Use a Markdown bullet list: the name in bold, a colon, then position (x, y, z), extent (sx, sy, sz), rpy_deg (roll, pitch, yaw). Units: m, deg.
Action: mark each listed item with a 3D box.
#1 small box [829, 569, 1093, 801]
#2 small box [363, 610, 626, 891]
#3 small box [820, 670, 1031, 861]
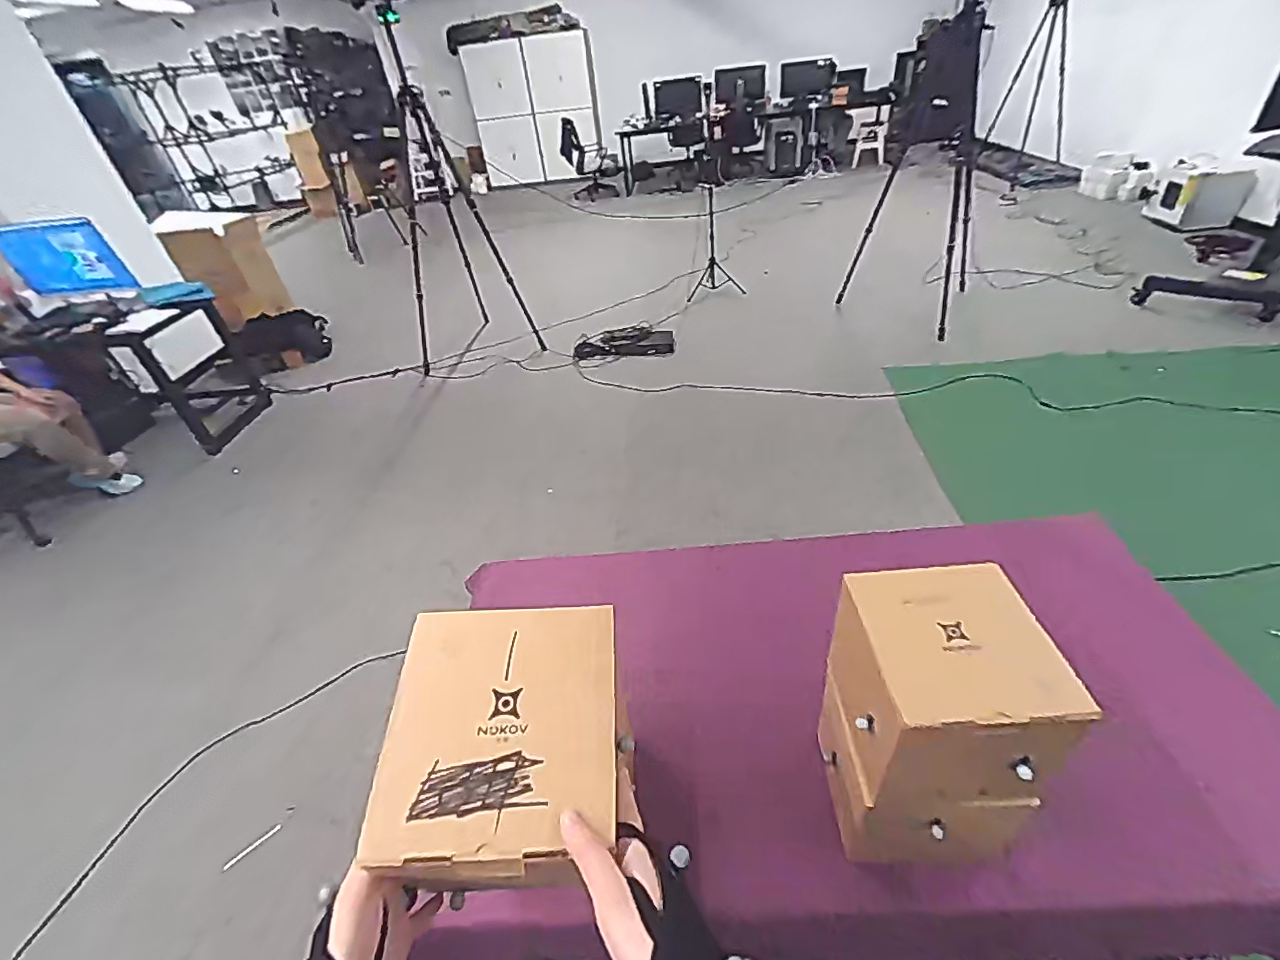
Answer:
- **small box**: position (0.312, 0.220, 0.574), extent (0.168, 0.176, 0.179), rpy_deg (-4, 37, 3)
- **small box**: position (-0.095, 0.228, 0.452), extent (0.168, 0.176, 0.179), rpy_deg (-1, 47, -2)
- **small box**: position (0.328, 0.351, 0.670), extent (0.179, 0.176, 0.168), rpy_deg (-3, 39, 6)
